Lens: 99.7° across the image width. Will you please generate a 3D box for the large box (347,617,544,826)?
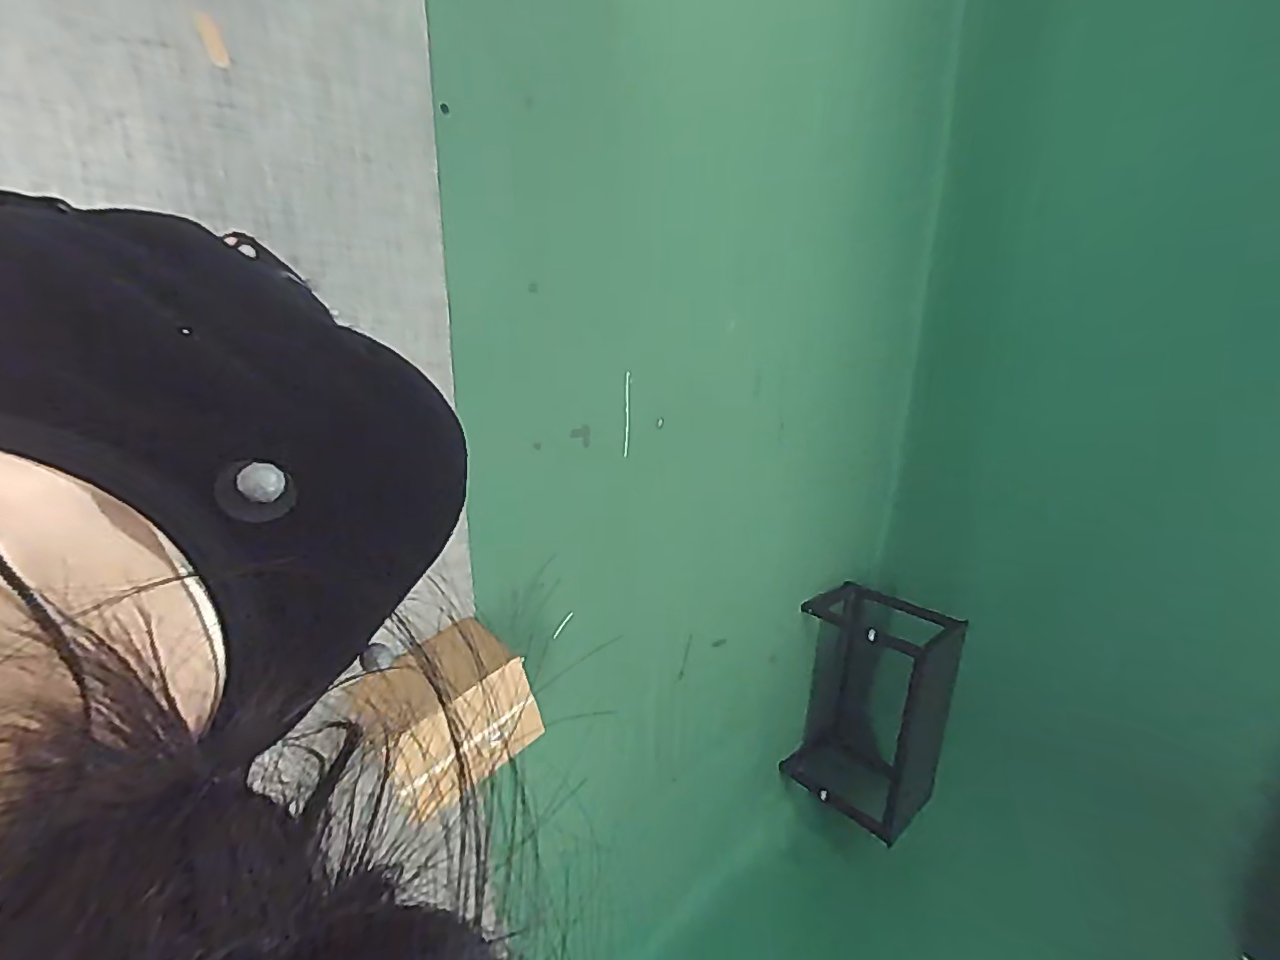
[{"bbox_3d":[-0.562,0.678,1.590,0.408,0.320,0.320,-30,121,-35],"label":"large box"}]
